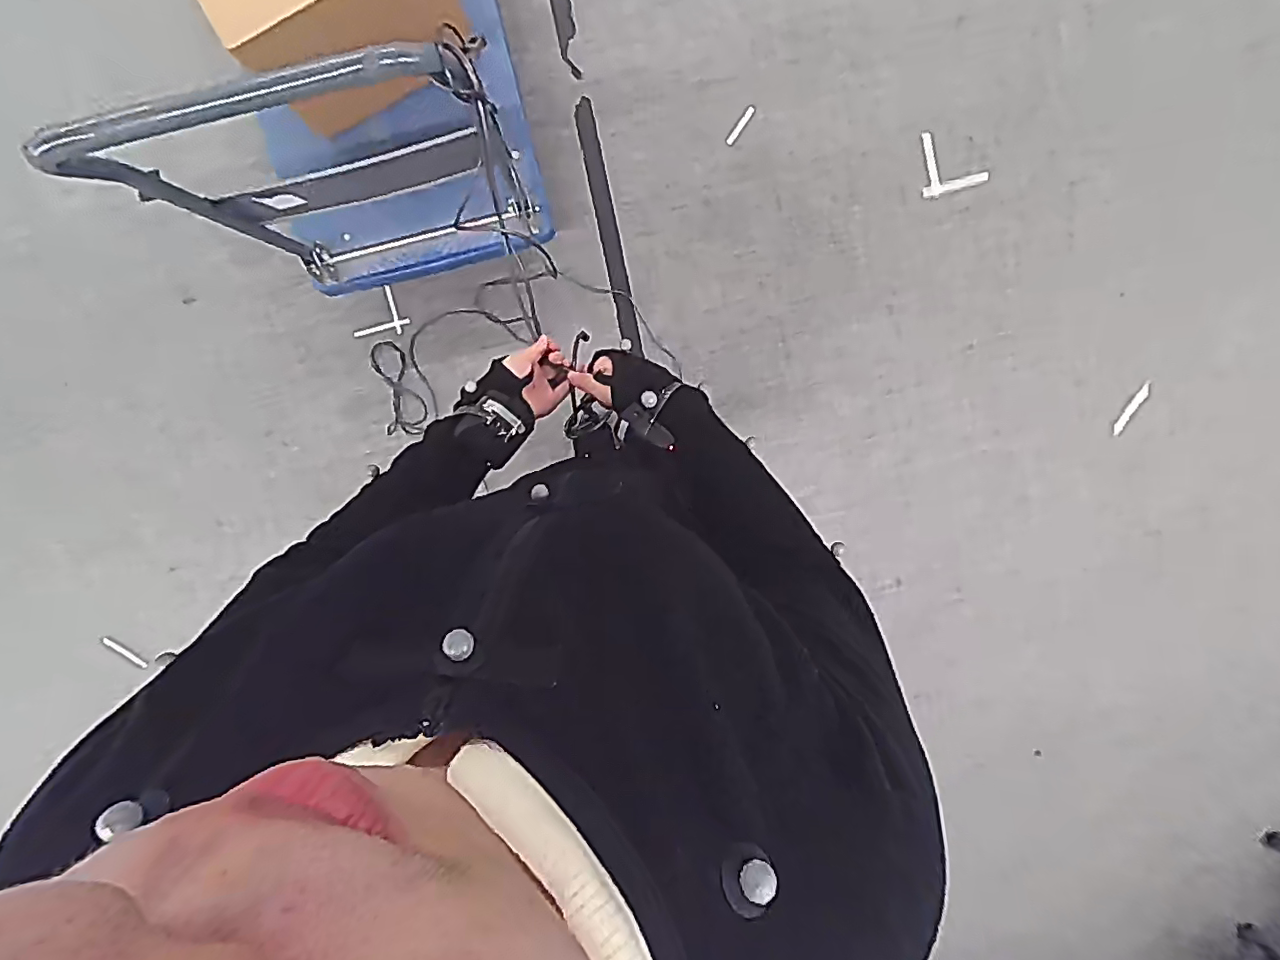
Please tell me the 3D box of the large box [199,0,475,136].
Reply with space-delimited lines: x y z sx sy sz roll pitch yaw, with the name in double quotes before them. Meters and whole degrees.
"large box" -0.598 -0.966 1.032 0.408 0.320 0.320 -28 97 2
